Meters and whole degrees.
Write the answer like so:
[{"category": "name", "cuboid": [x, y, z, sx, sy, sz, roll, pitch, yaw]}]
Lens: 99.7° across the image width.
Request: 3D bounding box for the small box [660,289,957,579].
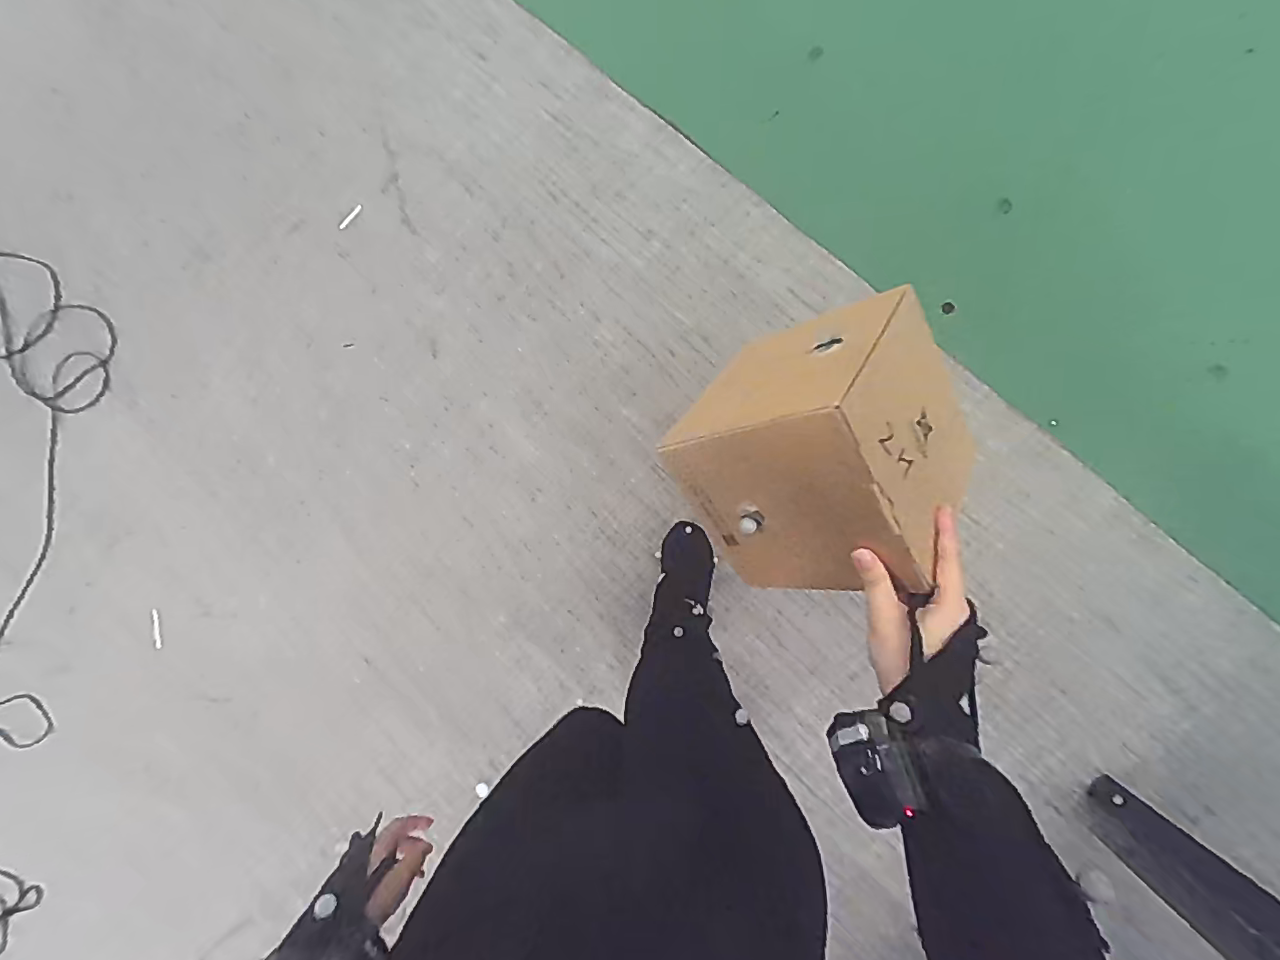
[{"category": "small box", "cuboid": [0.149, -0.032, 0.476, 0.168, 0.176, 0.179, 54, 52, -20]}]
